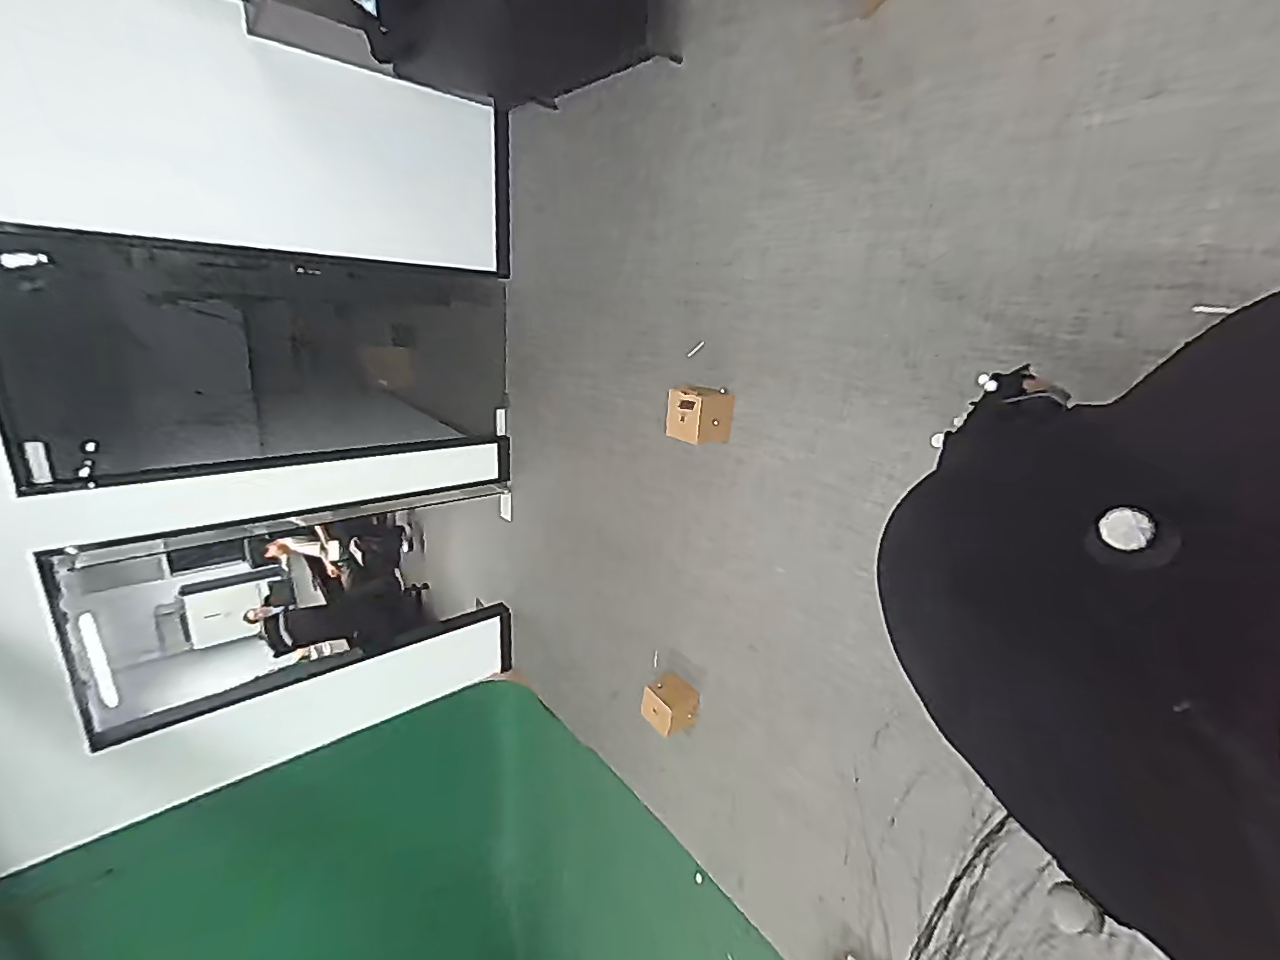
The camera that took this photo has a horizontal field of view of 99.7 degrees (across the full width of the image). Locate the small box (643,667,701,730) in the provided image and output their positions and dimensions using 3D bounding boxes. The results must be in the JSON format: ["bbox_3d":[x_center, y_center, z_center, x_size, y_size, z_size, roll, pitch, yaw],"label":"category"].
[{"bbox_3d":[0.138,0.945,2.363,0.179,0.176,0.168,30,121,42],"label":"small box"}]

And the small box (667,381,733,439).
[{"bbox_3d":[0.220,-0.263,1.975,0.168,0.176,0.179,25,118,44],"label":"small box"}]
